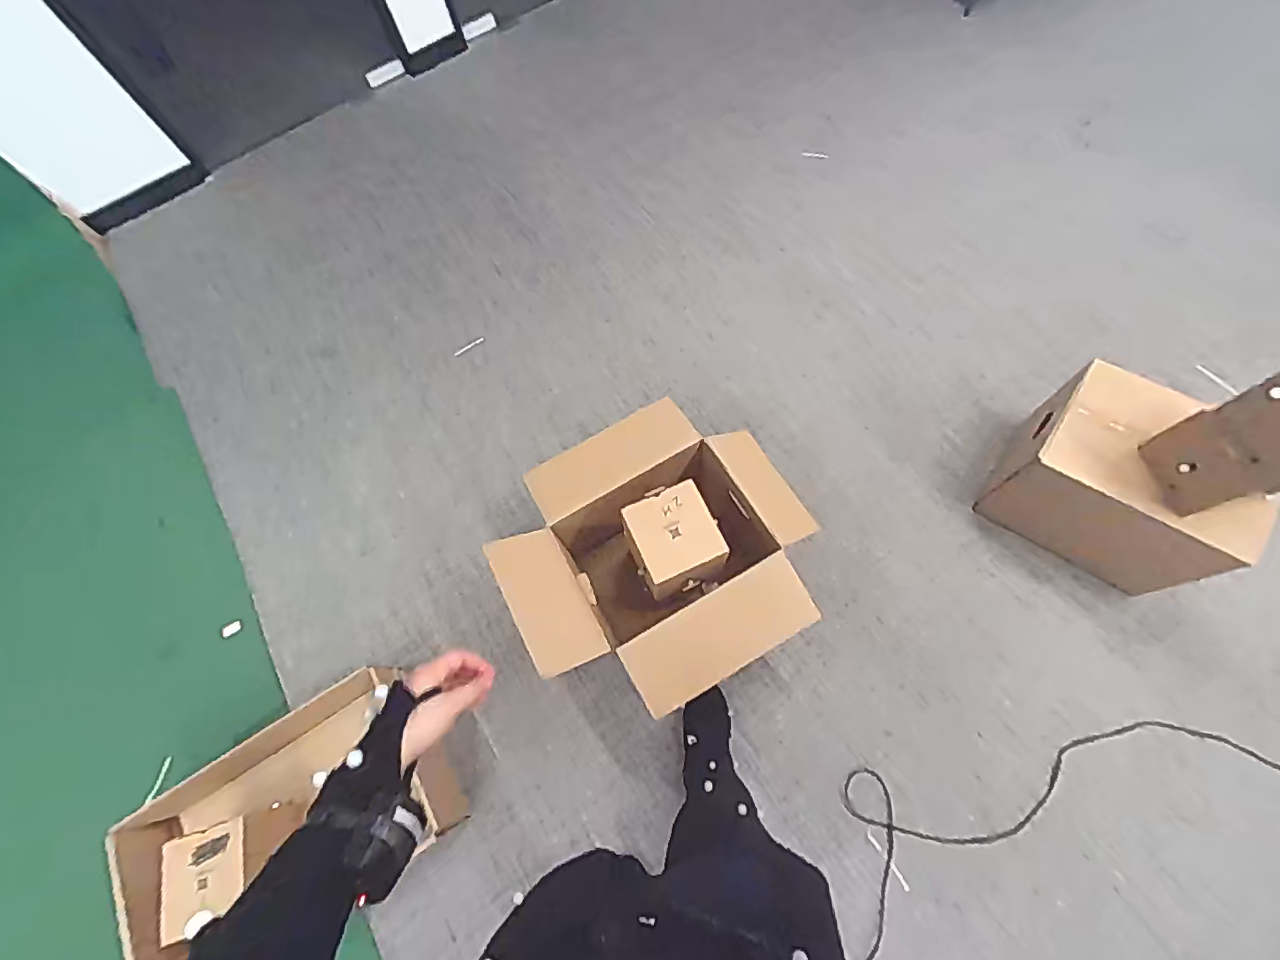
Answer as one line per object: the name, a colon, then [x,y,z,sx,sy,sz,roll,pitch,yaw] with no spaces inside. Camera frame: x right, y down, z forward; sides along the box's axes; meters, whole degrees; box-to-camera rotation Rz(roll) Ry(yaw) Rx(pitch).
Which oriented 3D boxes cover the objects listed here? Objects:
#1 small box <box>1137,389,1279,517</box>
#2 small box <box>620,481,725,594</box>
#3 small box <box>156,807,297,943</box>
small box: [1.109,-0.043,1.024,0.179,0.176,0.168,-14,67,1]
small box: [0.068,0.134,1.175,0.168,0.176,0.179,-23,67,-8]
small box: [-0.845,0.801,1.121,0.168,0.176,0.179,-18,66,-3]
